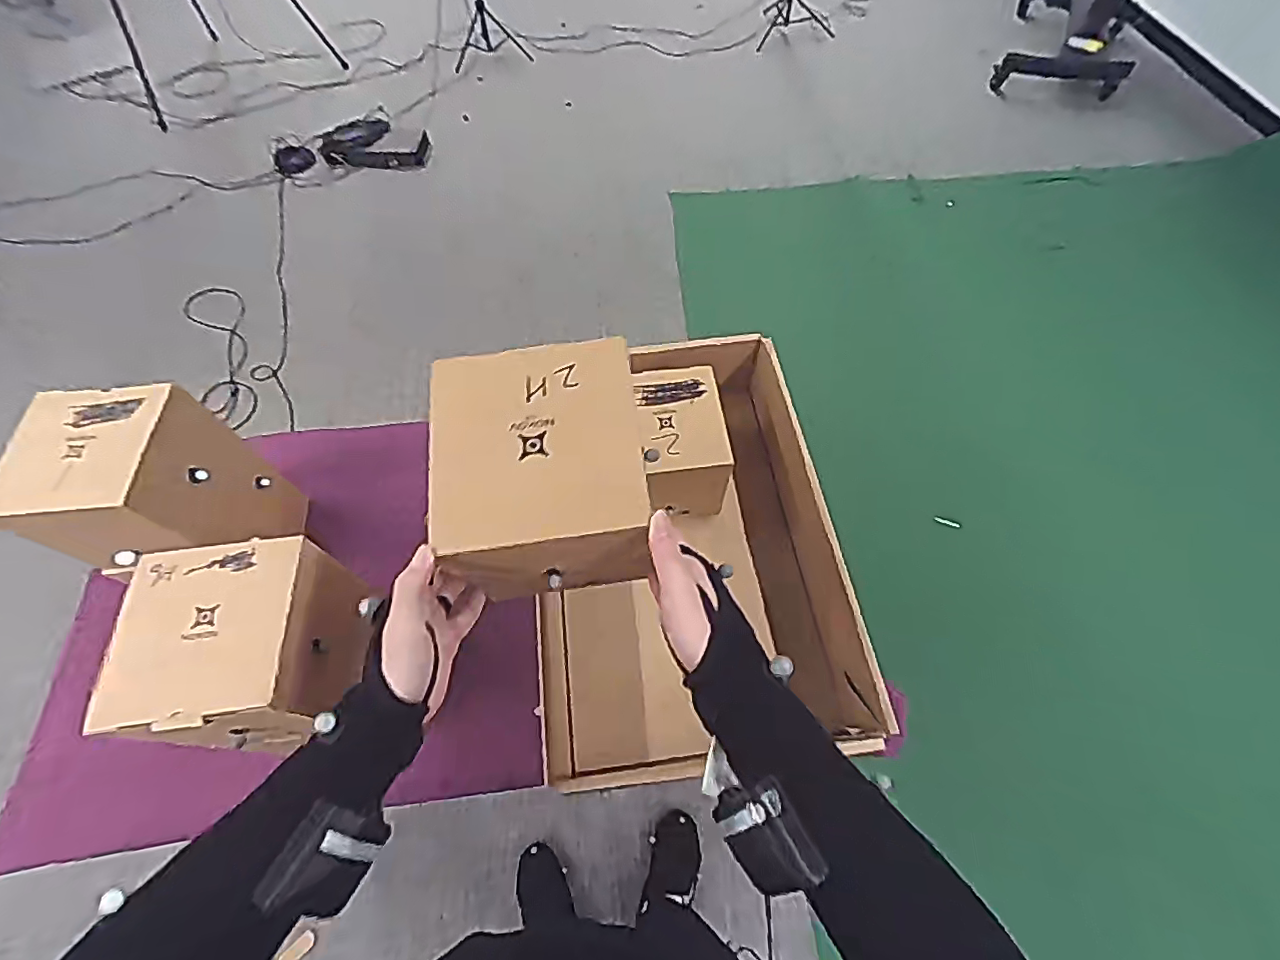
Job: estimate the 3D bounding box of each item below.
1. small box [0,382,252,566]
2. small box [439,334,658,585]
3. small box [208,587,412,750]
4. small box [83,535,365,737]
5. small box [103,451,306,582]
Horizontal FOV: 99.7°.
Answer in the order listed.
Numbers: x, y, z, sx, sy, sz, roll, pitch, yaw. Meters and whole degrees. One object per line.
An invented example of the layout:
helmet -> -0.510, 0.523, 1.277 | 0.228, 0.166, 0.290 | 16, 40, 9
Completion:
small box -> -0.649, -0.004, 0.699 | 0.168, 0.176, 0.179 | -4, 61, -2
small box -> -0.074, -0.007, 0.503 | 0.168, 0.176, 0.179 | -7, 65, -2
small box -> -0.426, 0.263, 0.736 | 0.168, 0.176, 0.179 | -6, 59, -4
small box -> -0.427, 0.179, 0.596 | 0.168, 0.176, 0.179 | -6, 61, -4
small box -> -0.654, 0.080, 0.841 | 0.168, 0.176, 0.179 | -8, 60, -4
